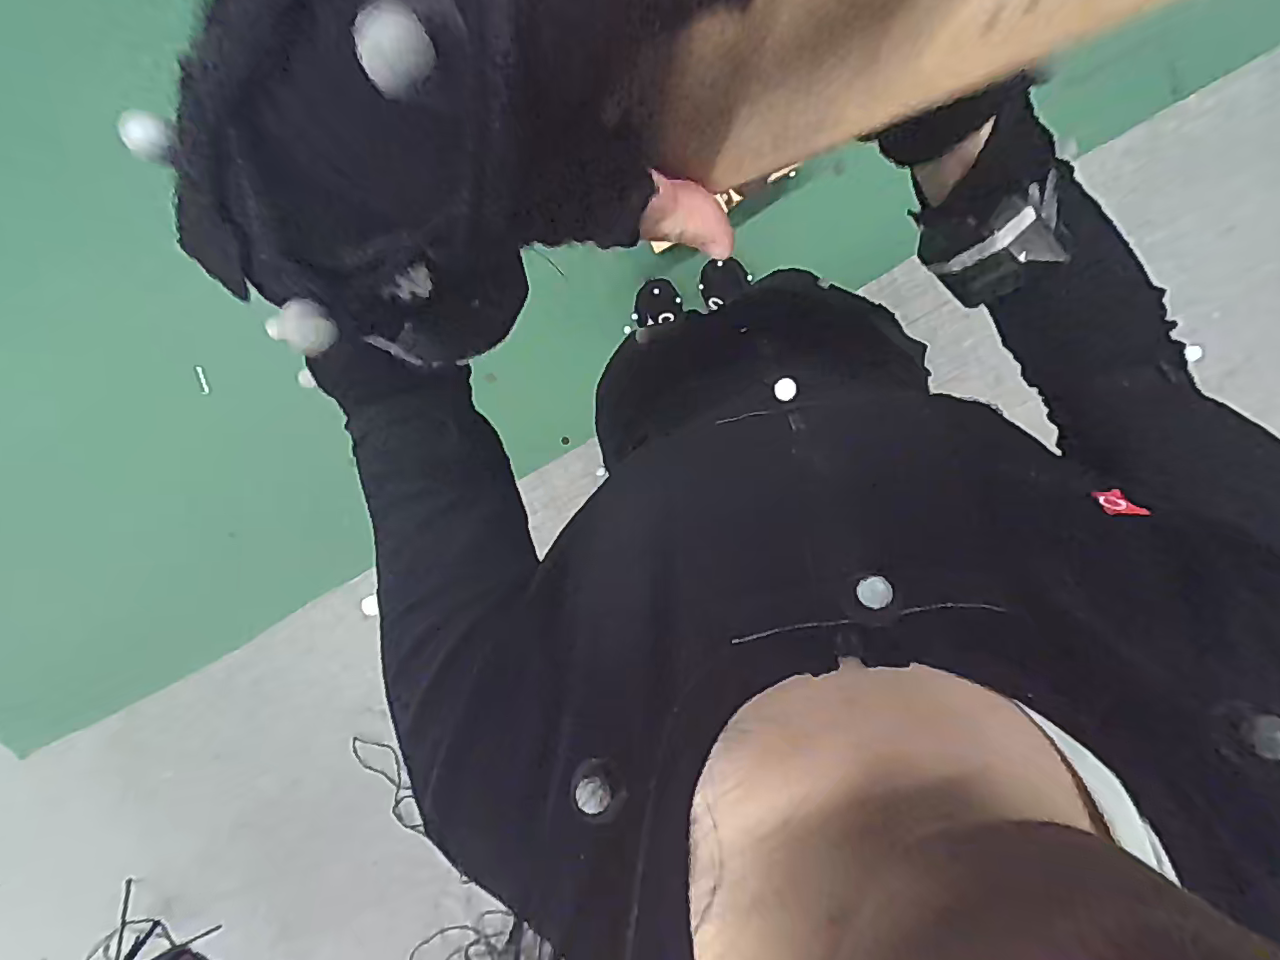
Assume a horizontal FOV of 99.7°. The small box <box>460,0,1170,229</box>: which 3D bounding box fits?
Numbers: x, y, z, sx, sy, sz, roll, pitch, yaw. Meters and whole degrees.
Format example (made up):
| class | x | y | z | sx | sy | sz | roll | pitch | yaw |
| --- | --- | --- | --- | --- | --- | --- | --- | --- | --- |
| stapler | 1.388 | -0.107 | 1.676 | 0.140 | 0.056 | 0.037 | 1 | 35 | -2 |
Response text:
| class | x | y | z | sx | sy | sz | roll | pitch | yaw |
| --- | --- | --- | --- | --- | --- | --- | --- | --- | --- |
| small box | 0.044 | -0.196 | 0.129 | 0.179 | 0.176 | 0.168 | -50 | 127 | -17 |
